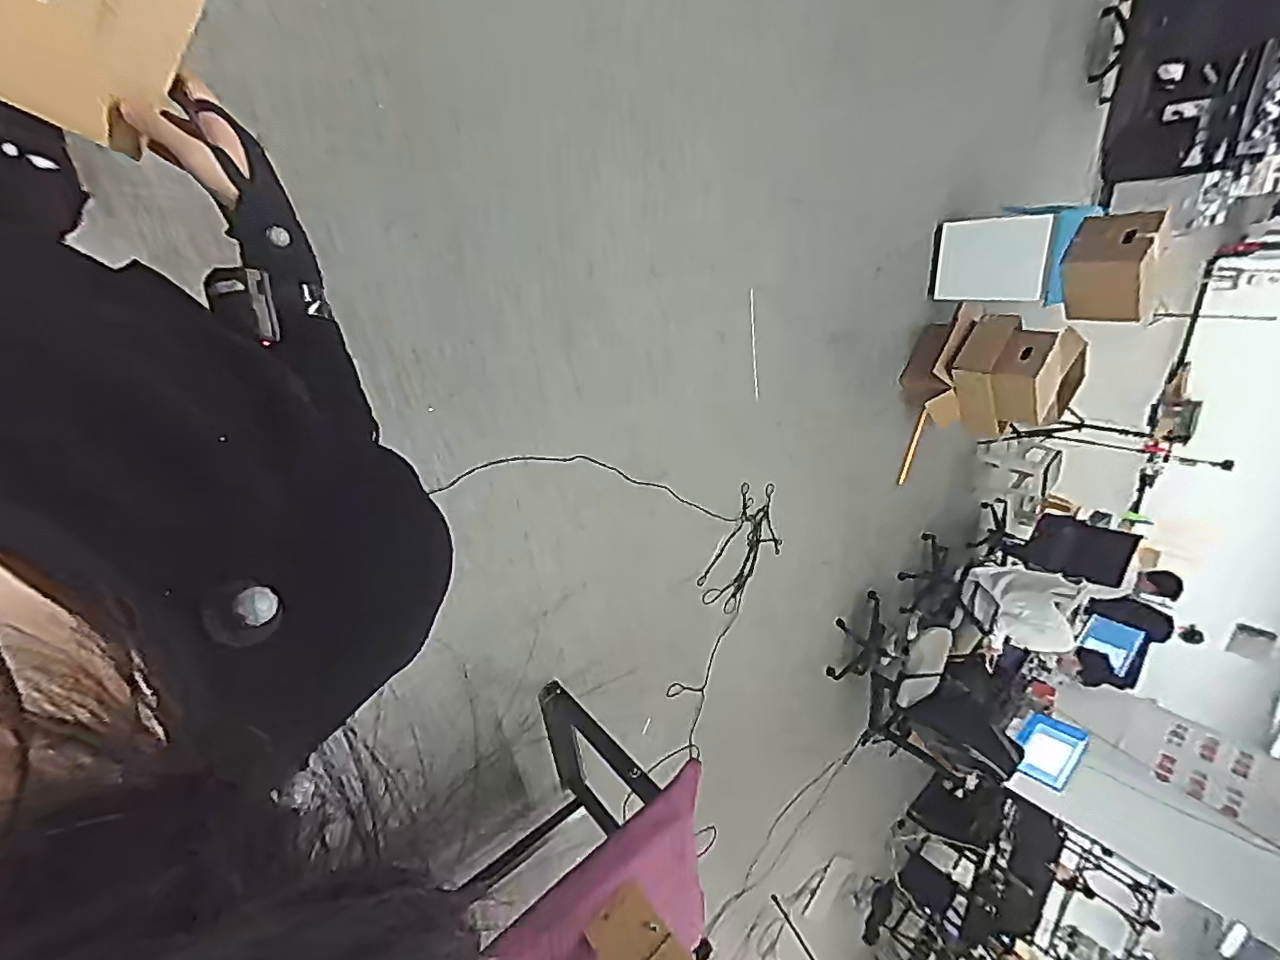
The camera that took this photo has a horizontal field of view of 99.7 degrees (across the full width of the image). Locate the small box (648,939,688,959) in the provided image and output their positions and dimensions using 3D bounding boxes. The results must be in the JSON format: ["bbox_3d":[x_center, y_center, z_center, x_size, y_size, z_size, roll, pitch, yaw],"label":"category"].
[{"bbox_3d":[0.076,1.227,1.251,0.168,0.176,0.179,-31,123,-28],"label":"small box"}]
